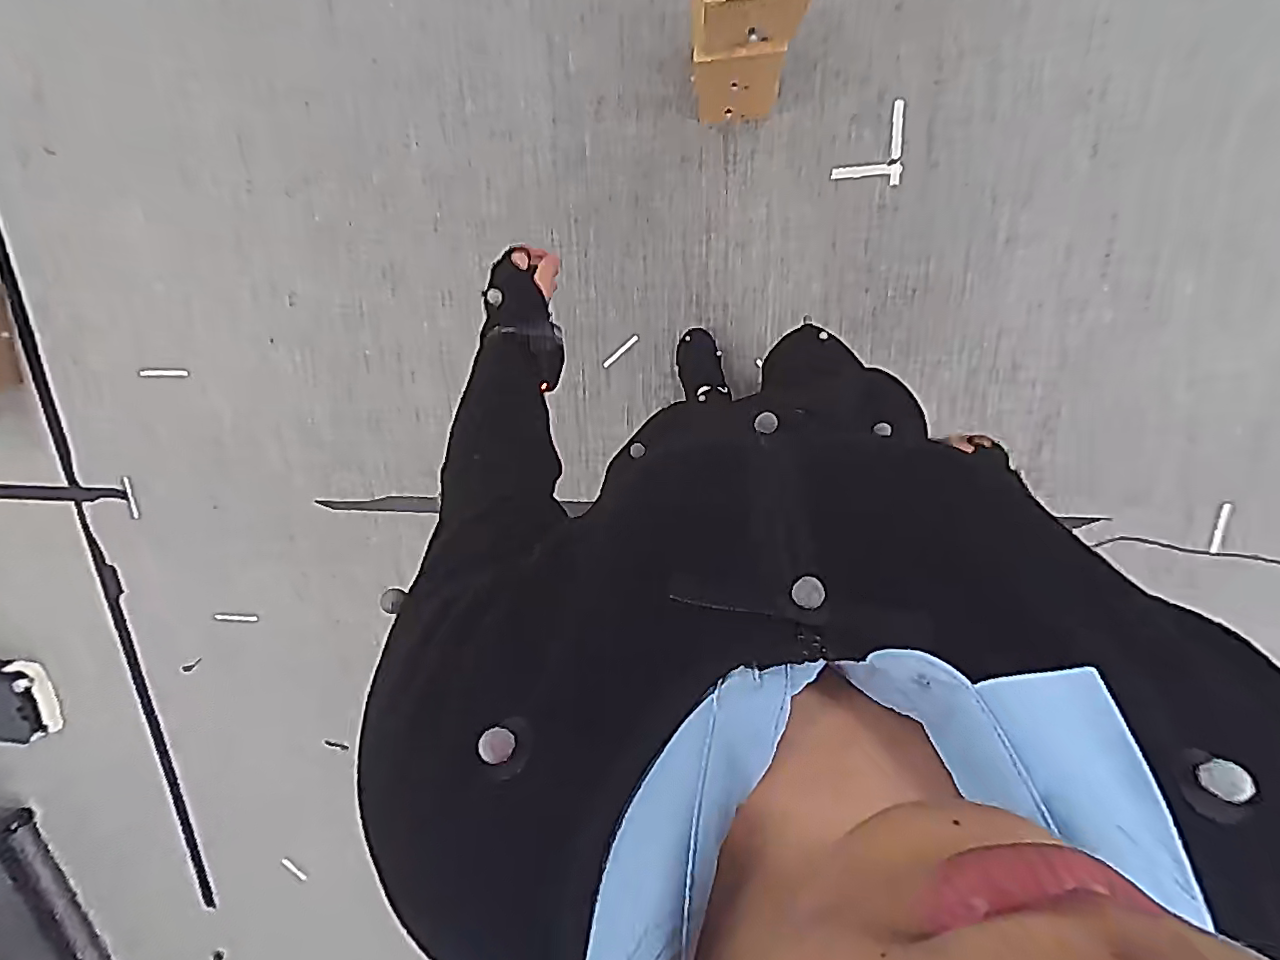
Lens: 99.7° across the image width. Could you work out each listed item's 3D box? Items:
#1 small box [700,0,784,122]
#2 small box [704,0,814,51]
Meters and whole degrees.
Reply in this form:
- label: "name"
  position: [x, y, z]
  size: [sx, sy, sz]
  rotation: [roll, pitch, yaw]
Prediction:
- label: "small box"
  position: [0.213, -0.907, 1.165]
  size: [0.168, 0.176, 0.179]
  rotation: [-1, 106, 7]
- label: "small box"
  position: [0.183, -0.825, 0.847]
  size: [0.168, 0.176, 0.179]
  rotation: [-5, 106, 8]
